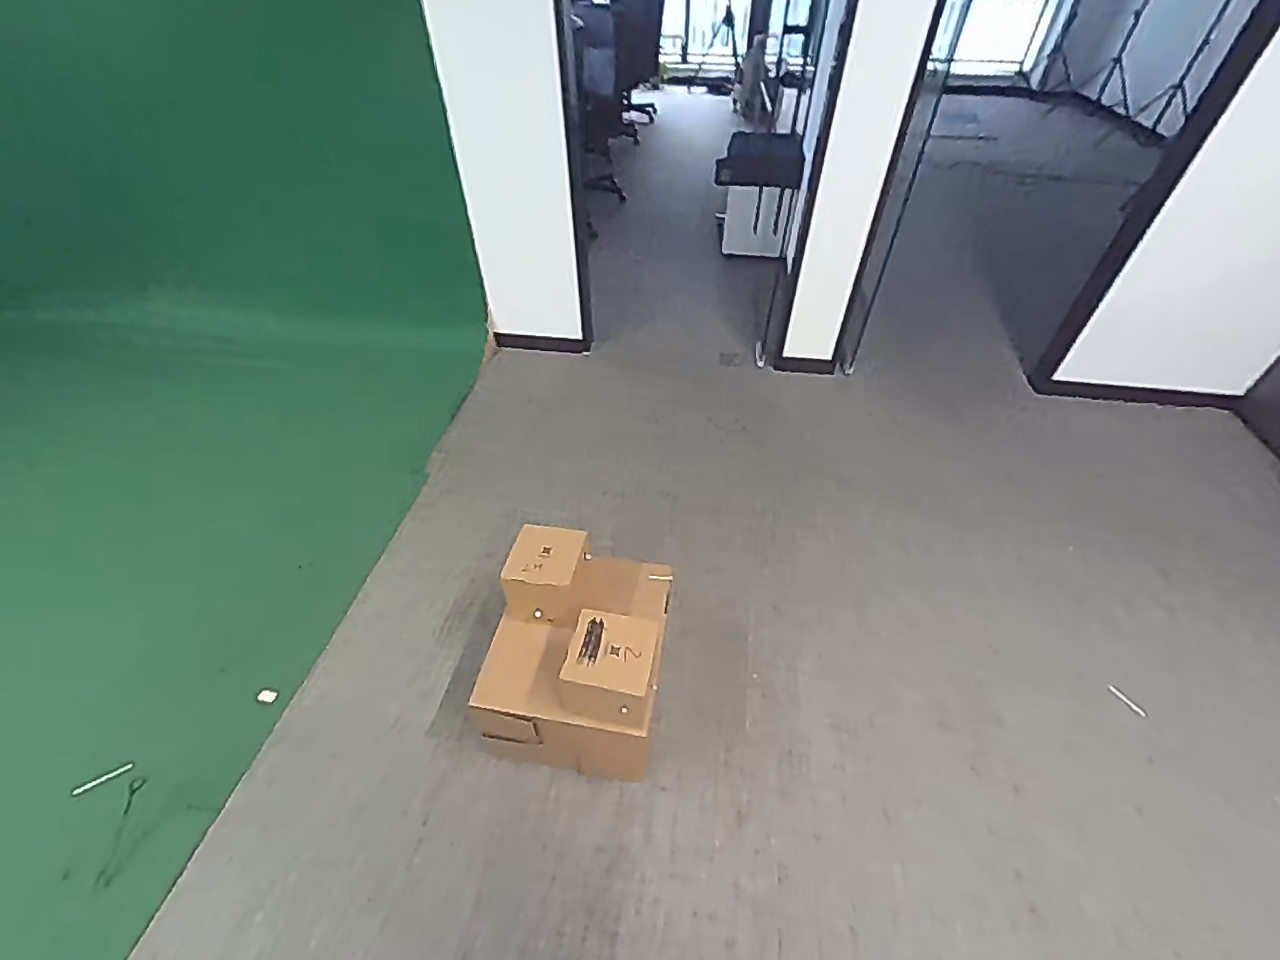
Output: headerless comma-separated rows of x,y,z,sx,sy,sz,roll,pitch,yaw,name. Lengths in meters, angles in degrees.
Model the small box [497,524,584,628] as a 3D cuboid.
-0.237,0.237,1.338,0.168,0.176,0.179,6,42,7,small box
